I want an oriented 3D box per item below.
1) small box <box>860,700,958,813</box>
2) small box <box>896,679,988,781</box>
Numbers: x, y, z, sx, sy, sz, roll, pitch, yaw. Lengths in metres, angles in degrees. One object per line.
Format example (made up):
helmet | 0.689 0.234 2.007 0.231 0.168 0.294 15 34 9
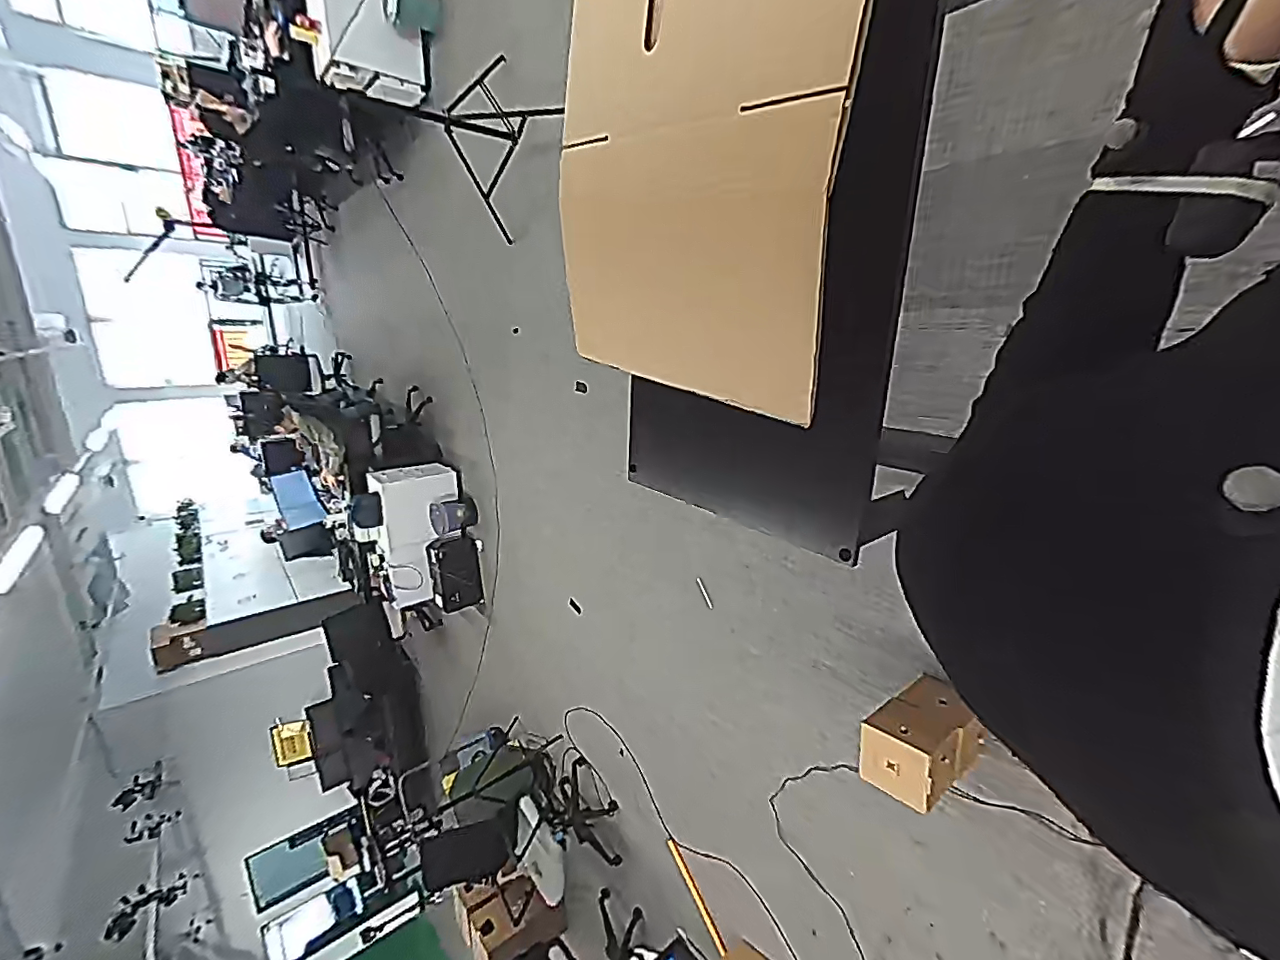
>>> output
small box | 0.696 0.702 1.399 0.179 0.176 0.168 12 107 51
small box | 0.826 0.676 1.493 0.179 0.176 0.168 15 111 49
